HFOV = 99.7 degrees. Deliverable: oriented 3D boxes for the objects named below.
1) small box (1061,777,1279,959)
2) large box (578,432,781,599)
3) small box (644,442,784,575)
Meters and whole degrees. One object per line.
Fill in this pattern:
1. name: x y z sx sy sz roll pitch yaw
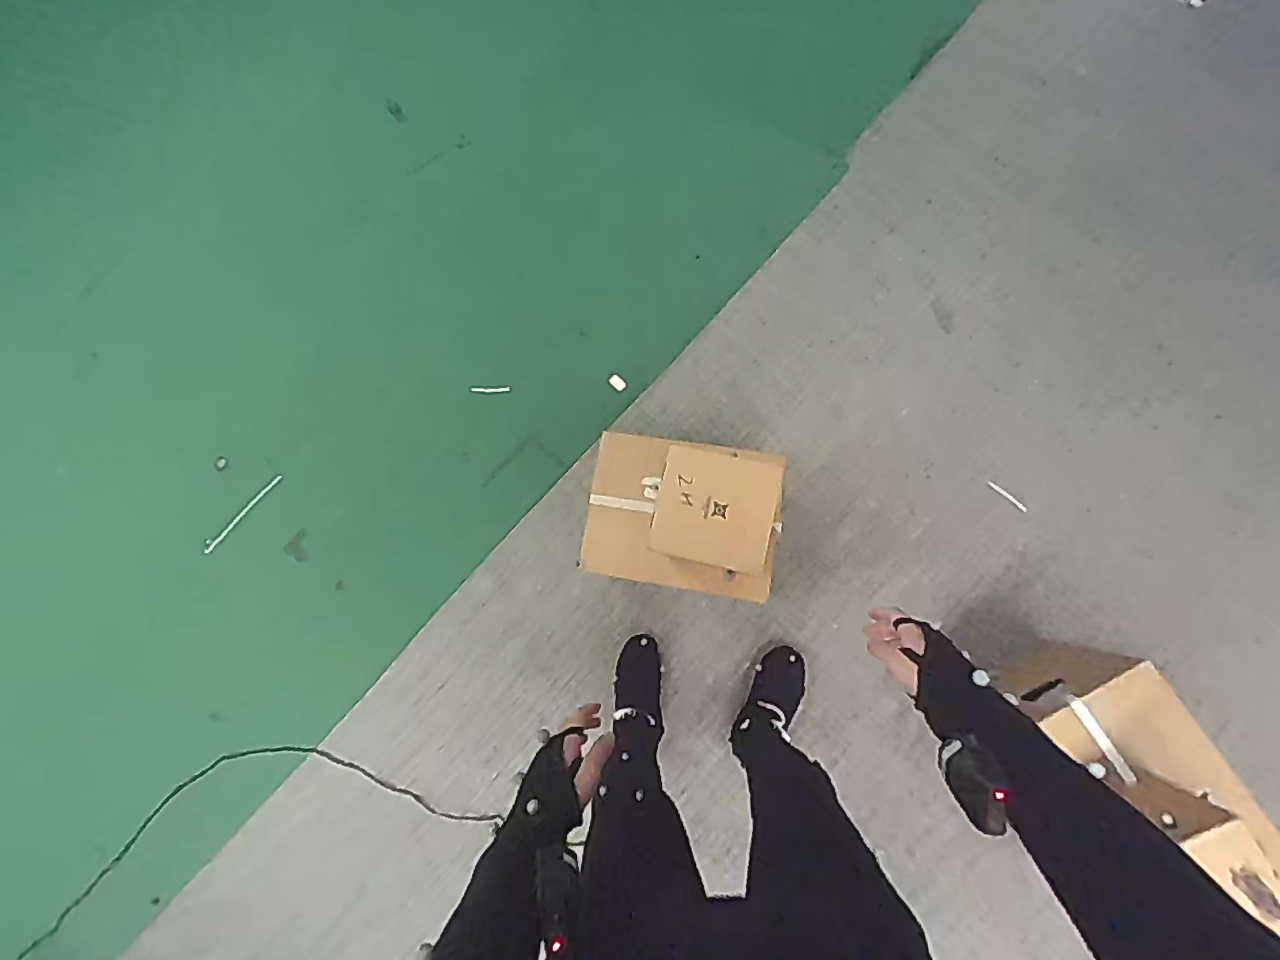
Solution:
1. small box: 0.836 0.609 0.858 0.179 0.176 0.168 -28 79 4
2. large box: 0.105 0.091 1.288 0.408 0.320 0.320 8 81 10
3. small box: 0.118 0.051 0.873 0.179 0.176 0.168 13 83 10
